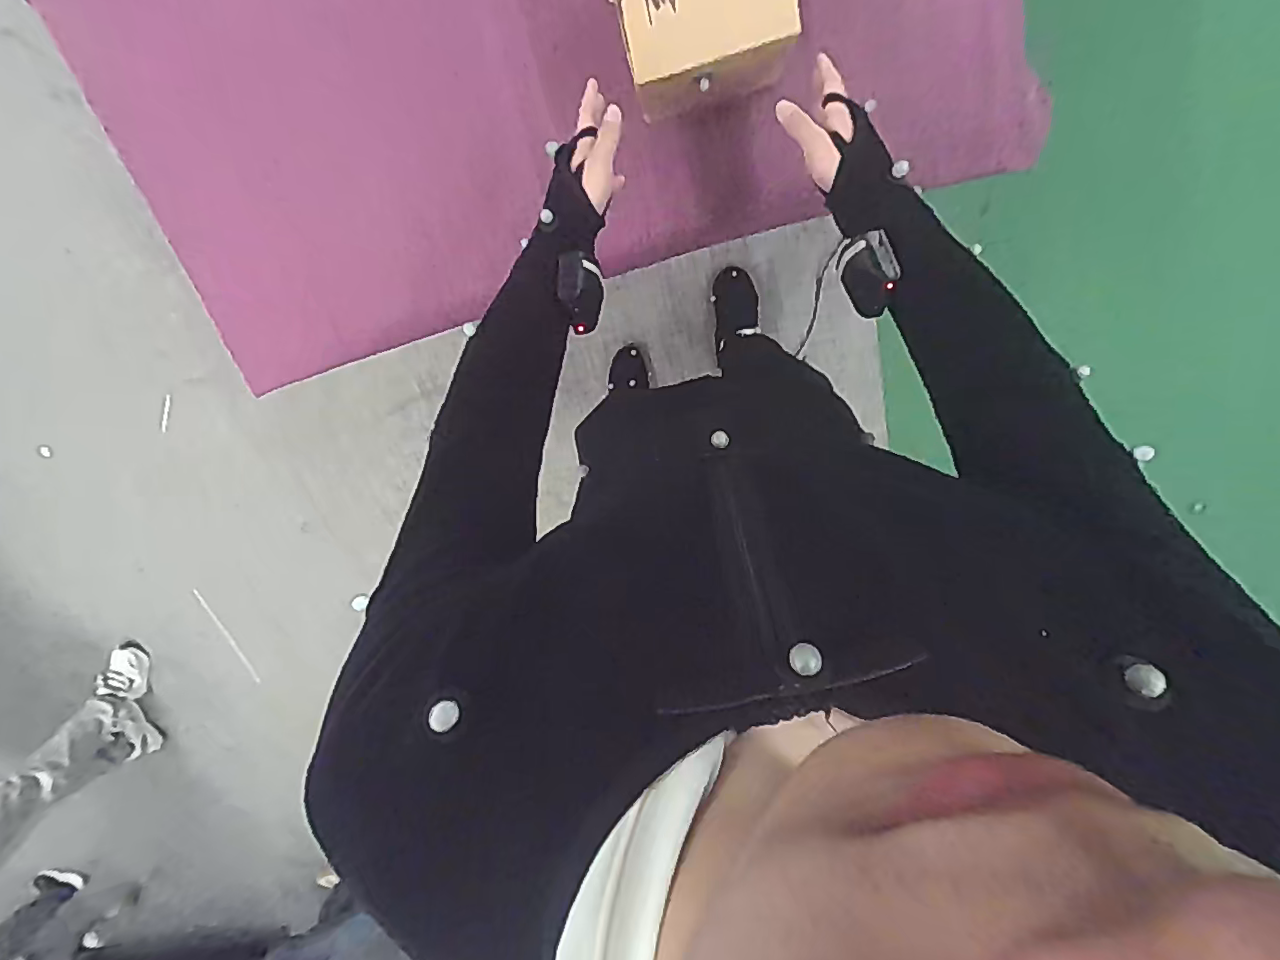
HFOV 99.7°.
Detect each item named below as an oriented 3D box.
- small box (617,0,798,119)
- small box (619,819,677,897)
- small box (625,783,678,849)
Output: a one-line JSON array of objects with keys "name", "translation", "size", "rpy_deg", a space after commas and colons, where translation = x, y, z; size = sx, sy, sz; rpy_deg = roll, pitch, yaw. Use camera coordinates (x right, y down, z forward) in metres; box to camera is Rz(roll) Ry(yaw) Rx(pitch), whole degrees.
[{"name": "small box", "translation": [0.067, -0.536, 0.607], "size": [0.179, 0.176, 0.168], "rpy_deg": [-11, 111, 9]}, {"name": "small box", "translation": [0.036, 1.385, 1.988], "size": [0.179, 0.176, 0.168], "rpy_deg": [-13, 109, 9]}, {"name": "small box", "translation": [0.050, 1.332, 2.139], "size": [0.179, 0.176, 0.168], "rpy_deg": [-11, 110, 9]}]
